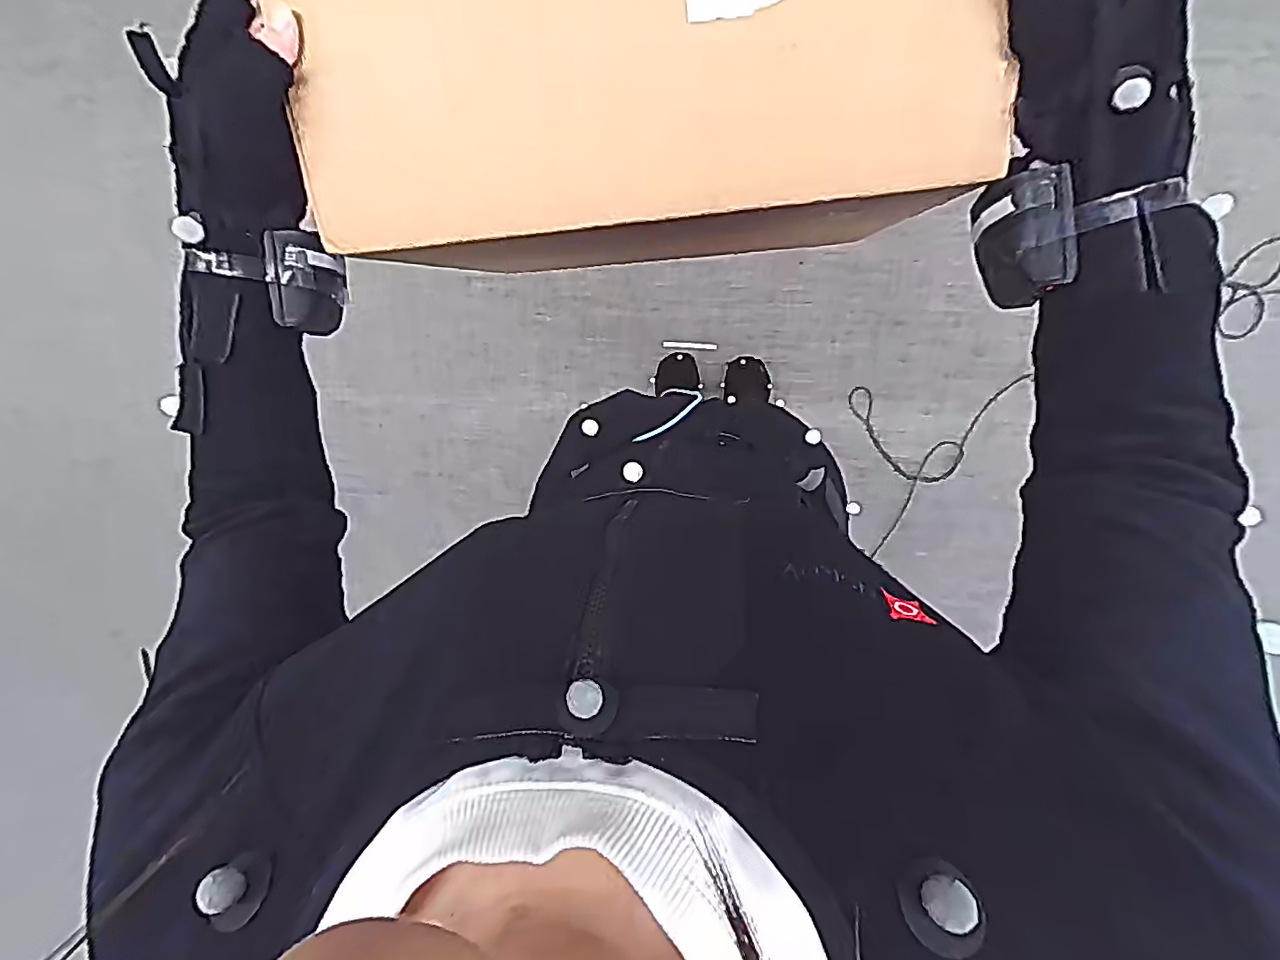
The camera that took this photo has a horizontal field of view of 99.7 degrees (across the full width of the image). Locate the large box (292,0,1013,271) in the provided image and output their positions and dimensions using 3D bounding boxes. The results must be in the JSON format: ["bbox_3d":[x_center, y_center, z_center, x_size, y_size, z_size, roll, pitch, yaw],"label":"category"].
[{"bbox_3d":[0.007,-0.358,0.424,0.408,0.320,0.320,-3,109,9],"label":"large box"}]
